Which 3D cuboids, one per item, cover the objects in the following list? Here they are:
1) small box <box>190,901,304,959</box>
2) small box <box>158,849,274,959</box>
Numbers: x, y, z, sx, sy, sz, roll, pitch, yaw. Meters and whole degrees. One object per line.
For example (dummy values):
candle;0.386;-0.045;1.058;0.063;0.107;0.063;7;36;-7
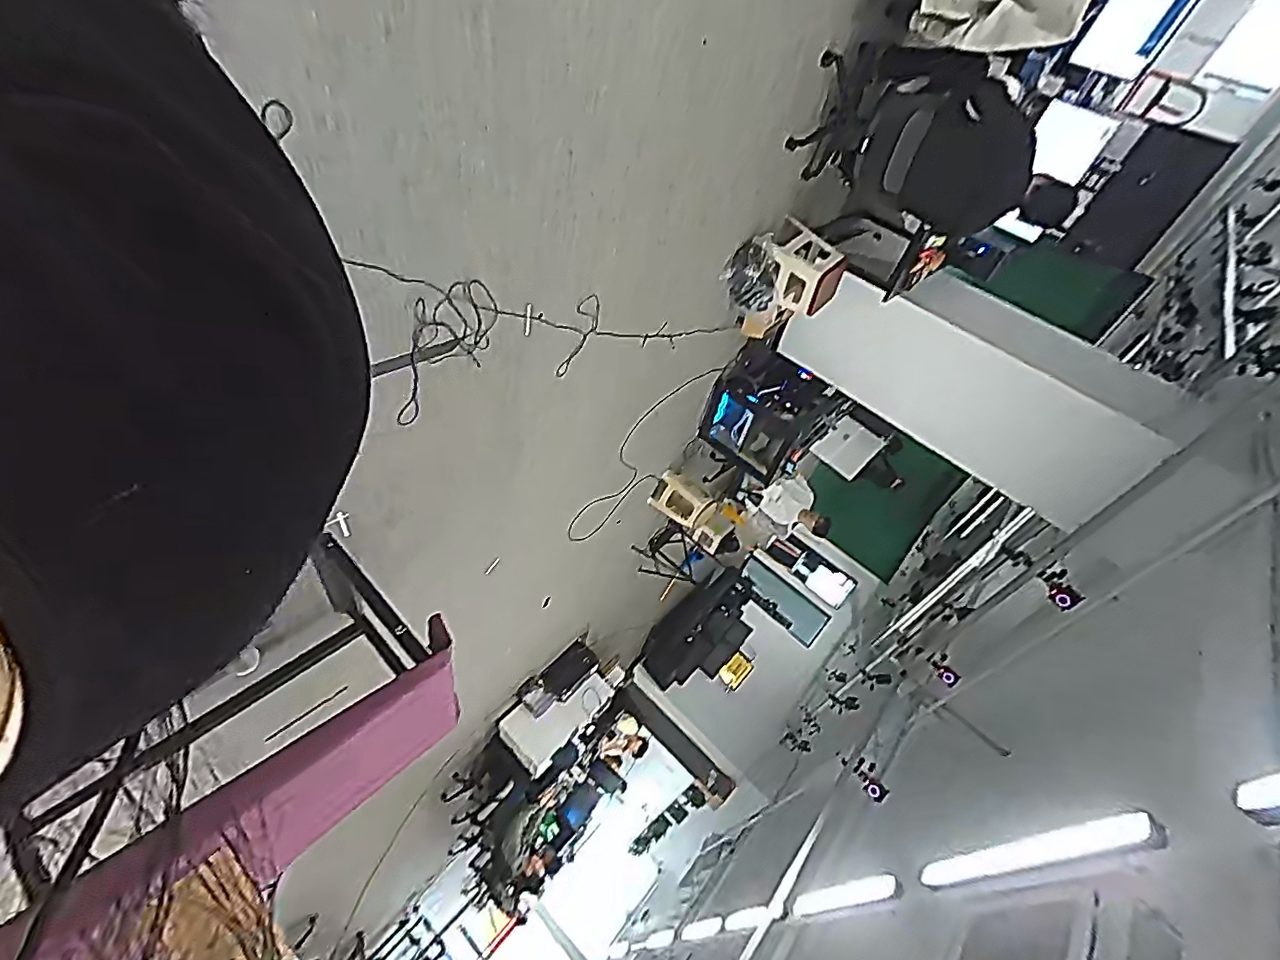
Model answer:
small box;-0.998;1.219;1.373;0.168;0.176;0.179;-34;154;-39
small box;-1.116;1.119;1.427;0.168;0.176;0.179;-35;155;-38
